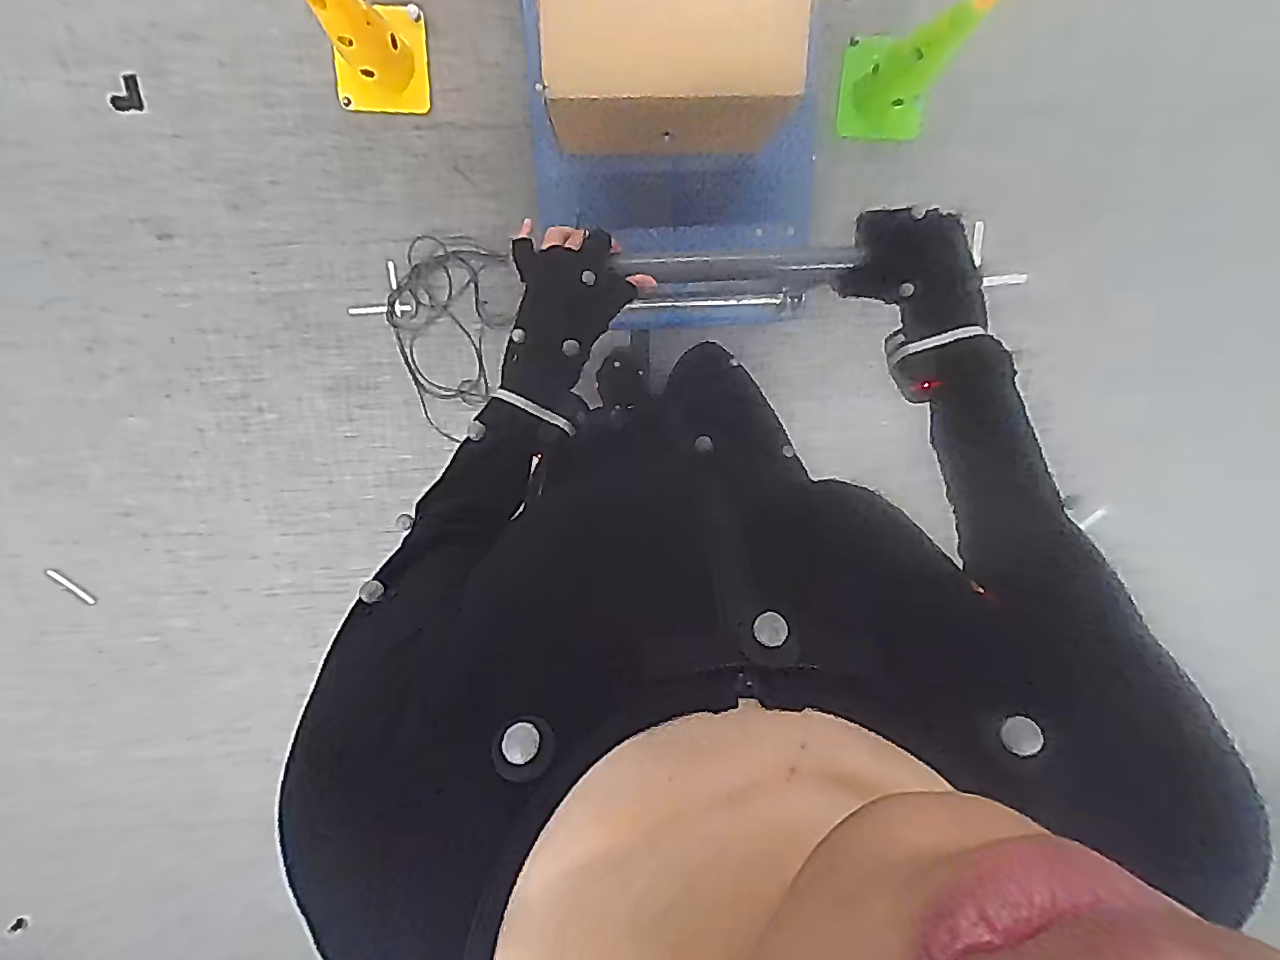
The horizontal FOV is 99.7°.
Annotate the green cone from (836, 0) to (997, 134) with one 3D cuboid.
[{"bbox_3d":[0.570,-0.869,1.083,0.202,0.368,0.200,1,106,-4],"label":"green cone"}]

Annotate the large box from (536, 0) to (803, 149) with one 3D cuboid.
[{"bbox_3d":[0.041,-0.787,0.930,0.408,0.320,0.320,-2,107,-1],"label":"large box"}]
